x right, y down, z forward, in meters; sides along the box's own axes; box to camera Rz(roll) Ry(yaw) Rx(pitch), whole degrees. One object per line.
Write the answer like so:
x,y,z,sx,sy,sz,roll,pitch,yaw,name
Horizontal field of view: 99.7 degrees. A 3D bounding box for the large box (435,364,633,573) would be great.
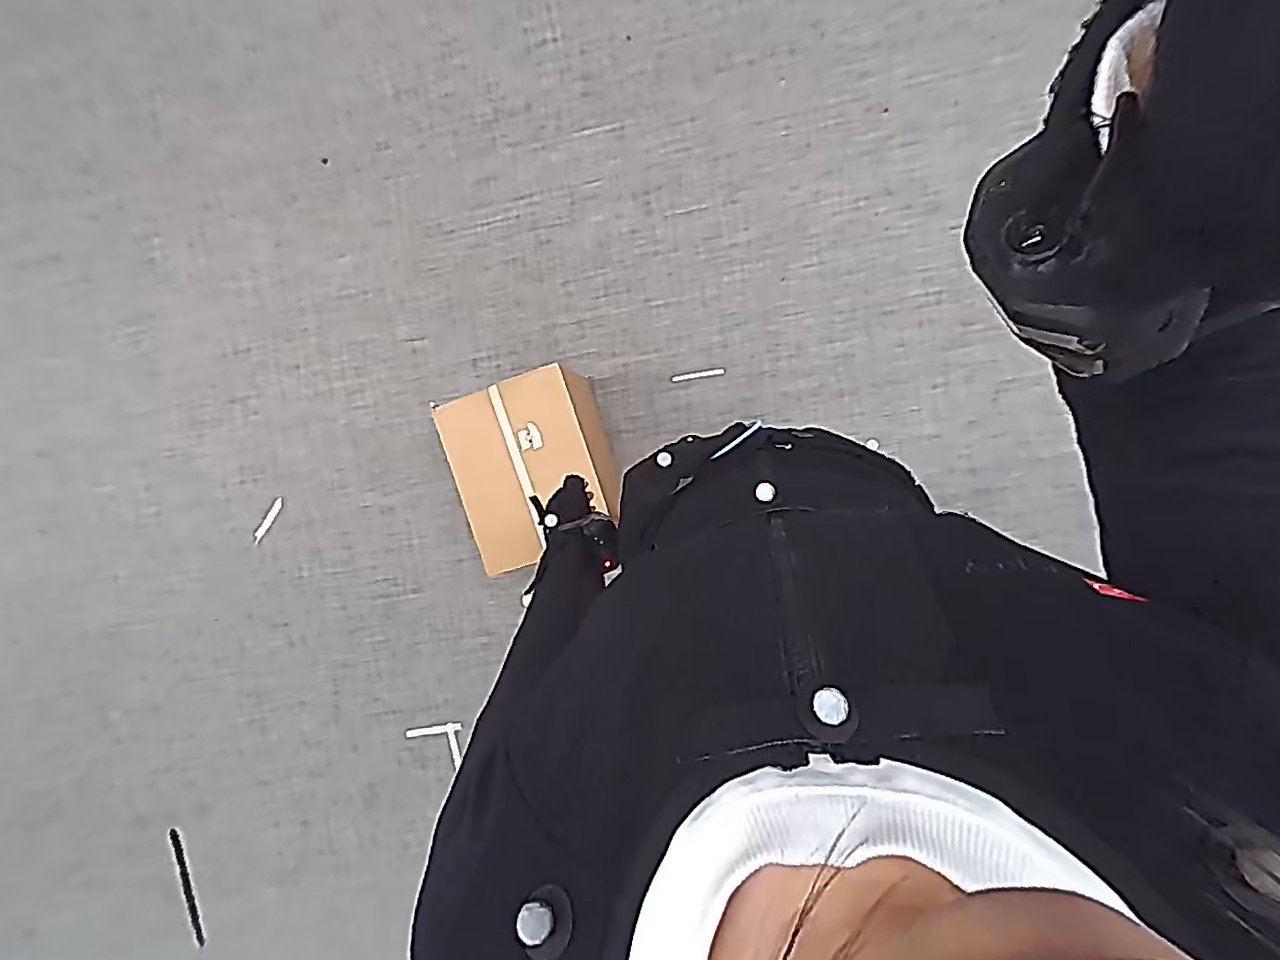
-0.240,-0.030,1.351,0.320,0.320,0.408,-18,91,7,large box
